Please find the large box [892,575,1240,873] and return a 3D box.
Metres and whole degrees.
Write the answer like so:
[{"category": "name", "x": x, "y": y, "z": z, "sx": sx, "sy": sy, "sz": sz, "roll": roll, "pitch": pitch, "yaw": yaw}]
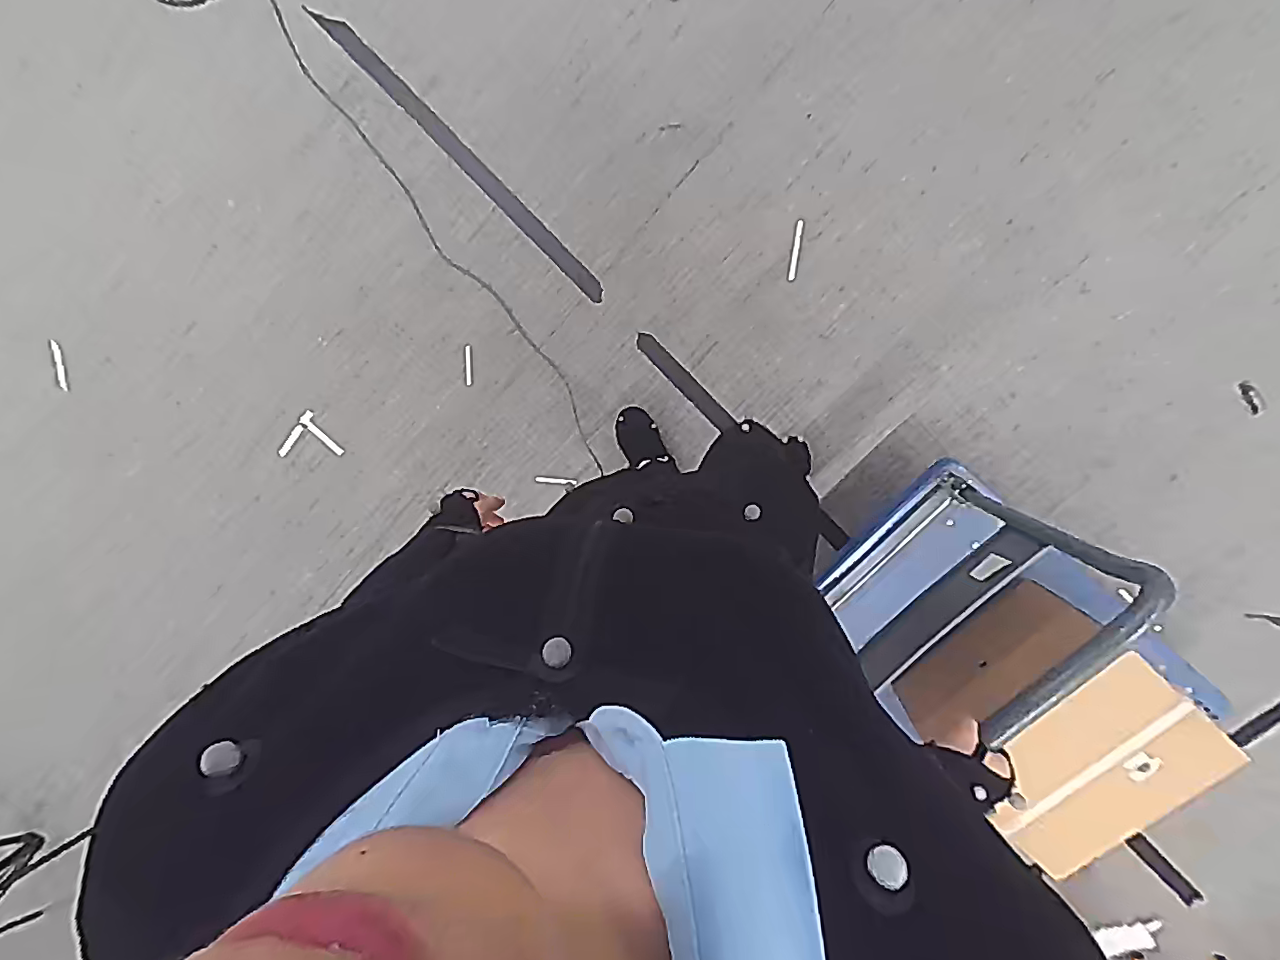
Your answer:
[{"category": "large box", "x": 0.824, "y": 0.478, "z": 1.123, "sx": 0.320, "sy": 0.320, "sz": 0.408, "roll": 42, "pitch": 102, "yaw": -2}]
